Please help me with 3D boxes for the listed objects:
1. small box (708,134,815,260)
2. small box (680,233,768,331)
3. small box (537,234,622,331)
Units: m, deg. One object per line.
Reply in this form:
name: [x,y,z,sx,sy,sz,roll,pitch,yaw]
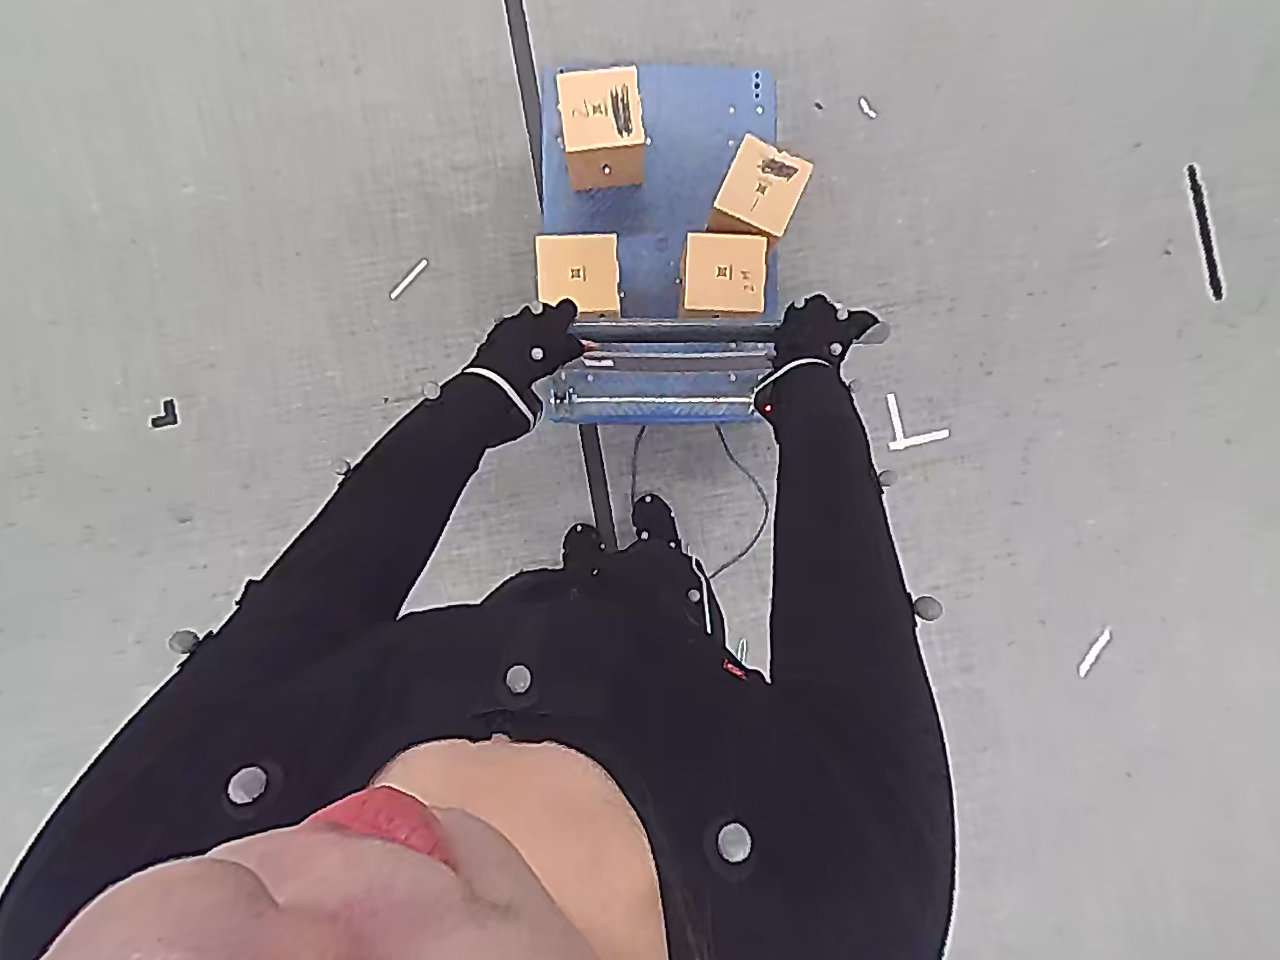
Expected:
small box: [0.268,-0.634,1.243,0.168,0.176,0.179,25,91,-1]
small box: [0.186,-0.447,1.243,0.179,0.176,0.168,3,91,-1]
small box: [-0.132,-0.444,1.238,0.179,0.176,0.168,-2,91,-2]
